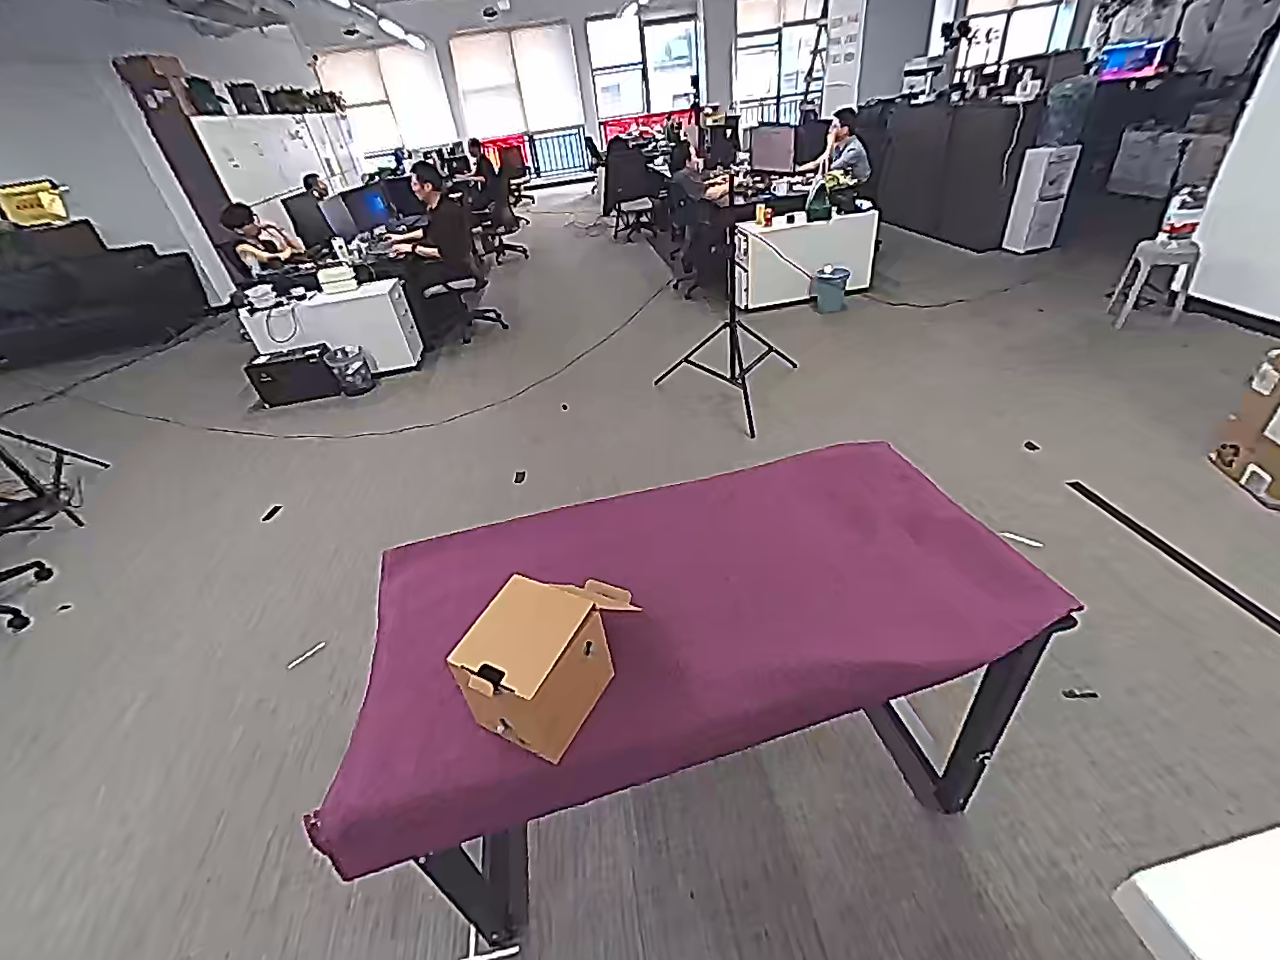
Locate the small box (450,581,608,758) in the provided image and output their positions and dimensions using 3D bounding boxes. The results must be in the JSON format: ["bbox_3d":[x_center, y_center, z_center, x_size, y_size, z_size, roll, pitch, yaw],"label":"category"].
[{"bbox_3d":[-0.166,0.300,0.871,0.168,0.176,0.179,12,39,28],"label":"small box"}]
